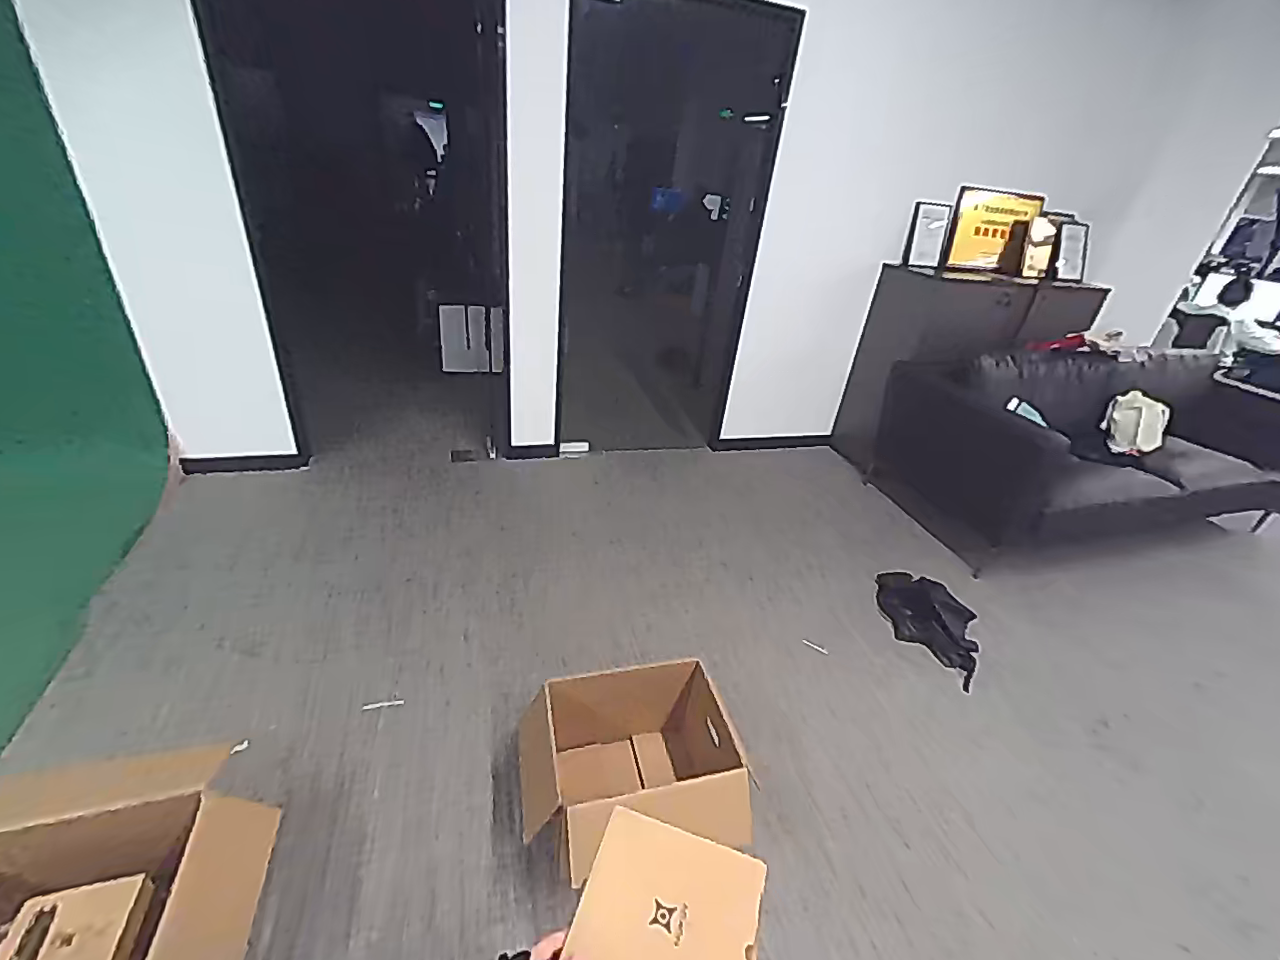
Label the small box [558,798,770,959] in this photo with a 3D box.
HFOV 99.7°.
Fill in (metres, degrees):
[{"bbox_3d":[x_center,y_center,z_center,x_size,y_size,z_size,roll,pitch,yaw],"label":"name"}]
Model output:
[{"bbox_3d":[0.027,0.488,0.576,0.179,0.176,0.168,14,35,14],"label":"small box"}]
